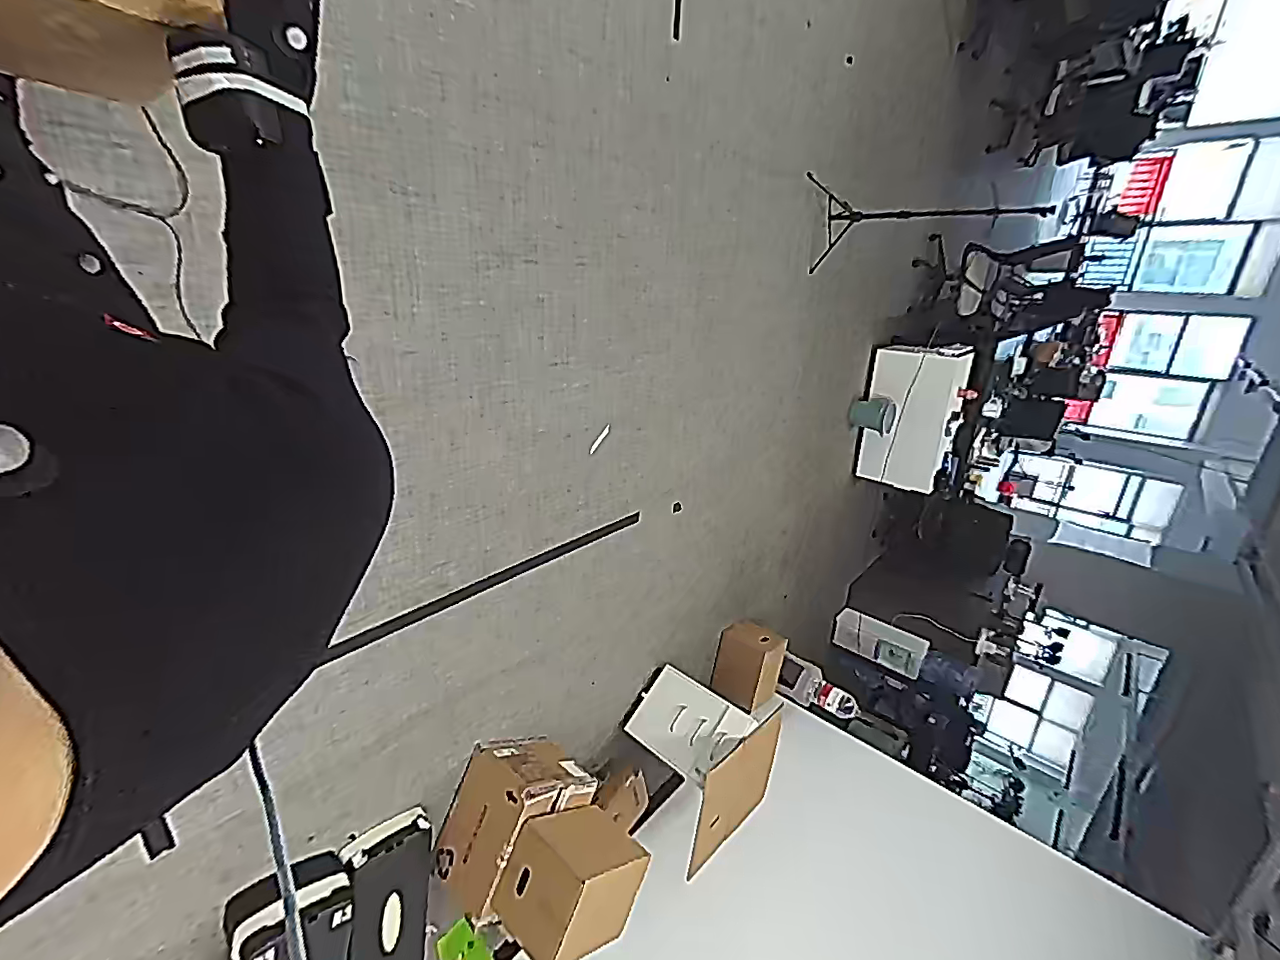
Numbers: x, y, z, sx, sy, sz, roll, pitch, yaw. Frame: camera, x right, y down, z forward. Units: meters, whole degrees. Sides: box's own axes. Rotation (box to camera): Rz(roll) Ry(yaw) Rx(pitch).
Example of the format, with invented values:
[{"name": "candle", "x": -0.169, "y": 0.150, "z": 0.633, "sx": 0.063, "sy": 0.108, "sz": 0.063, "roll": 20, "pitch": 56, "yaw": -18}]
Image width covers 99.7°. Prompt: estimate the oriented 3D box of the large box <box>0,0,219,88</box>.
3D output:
[{"name": "large box", "x": -0.529, "y": -0.467, "z": 0.280, "sx": 0.408, "sy": 0.320, "sz": 0.320, "roll": -16, "pitch": 119, "yaw": -48}]
